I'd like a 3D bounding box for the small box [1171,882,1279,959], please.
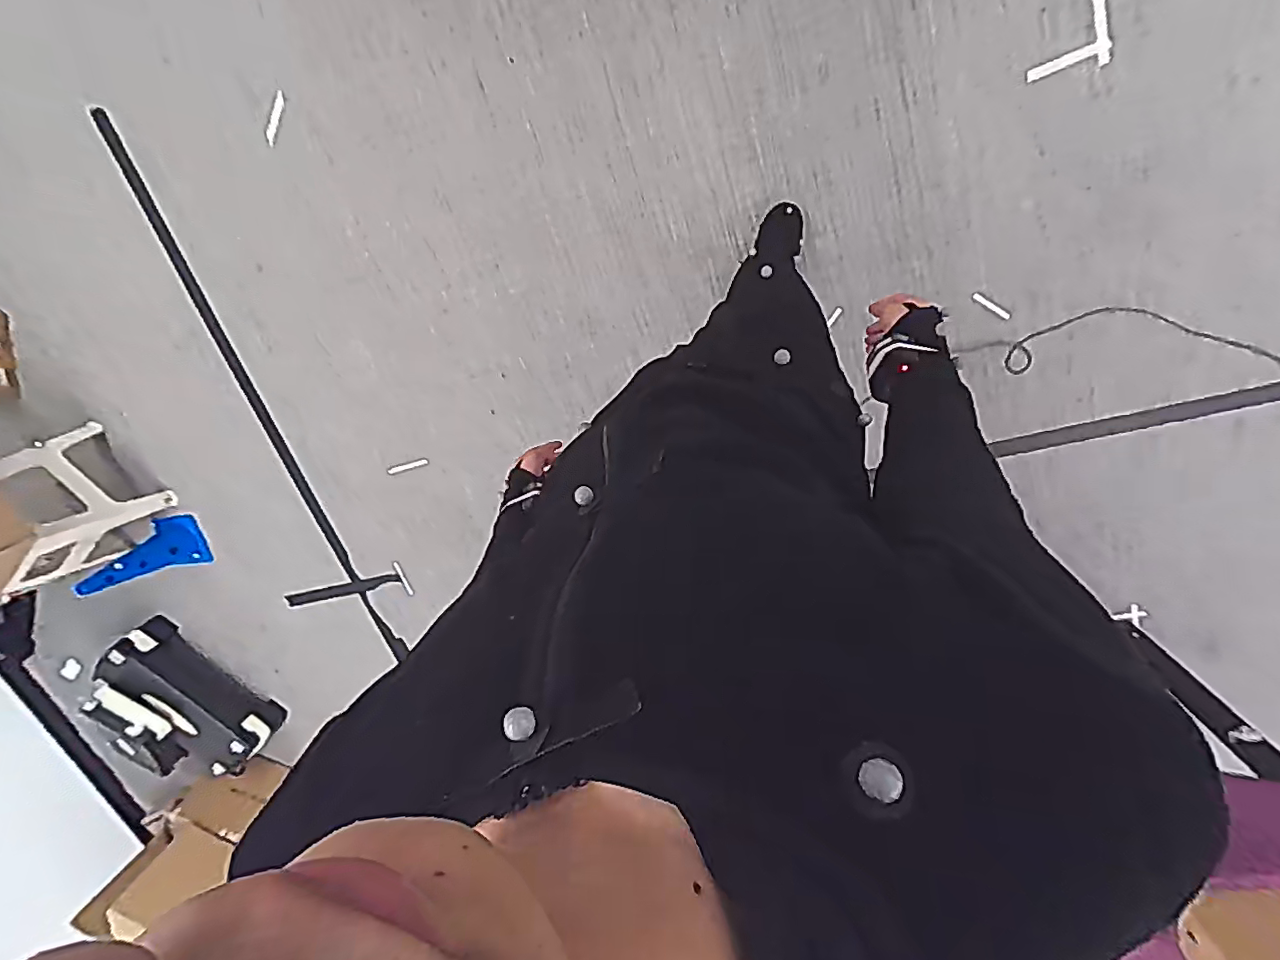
[{"bbox_3d":[1.094,0.843,0.947,0.179,0.176,0.168,-15,108,15],"label":"small box"}]
